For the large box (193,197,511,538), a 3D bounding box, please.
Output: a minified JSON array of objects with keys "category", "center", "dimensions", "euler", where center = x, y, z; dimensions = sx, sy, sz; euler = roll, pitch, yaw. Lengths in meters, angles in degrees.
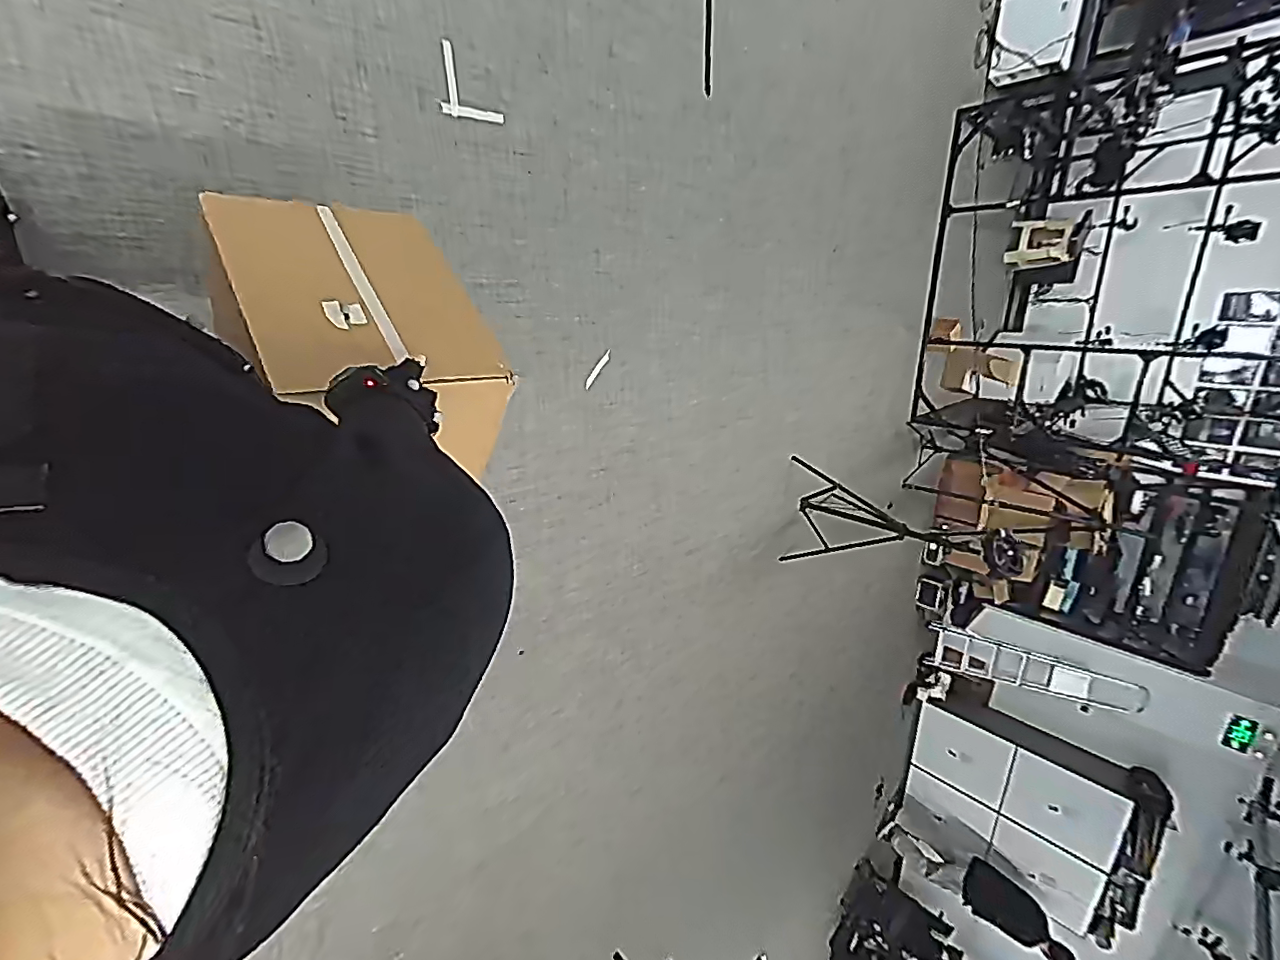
[{"category":"large box","center":[-0.471,-0.180,0.876],"dimensions":[0.320,0.408,0.320],"euler":[-15,152,-39]}]
